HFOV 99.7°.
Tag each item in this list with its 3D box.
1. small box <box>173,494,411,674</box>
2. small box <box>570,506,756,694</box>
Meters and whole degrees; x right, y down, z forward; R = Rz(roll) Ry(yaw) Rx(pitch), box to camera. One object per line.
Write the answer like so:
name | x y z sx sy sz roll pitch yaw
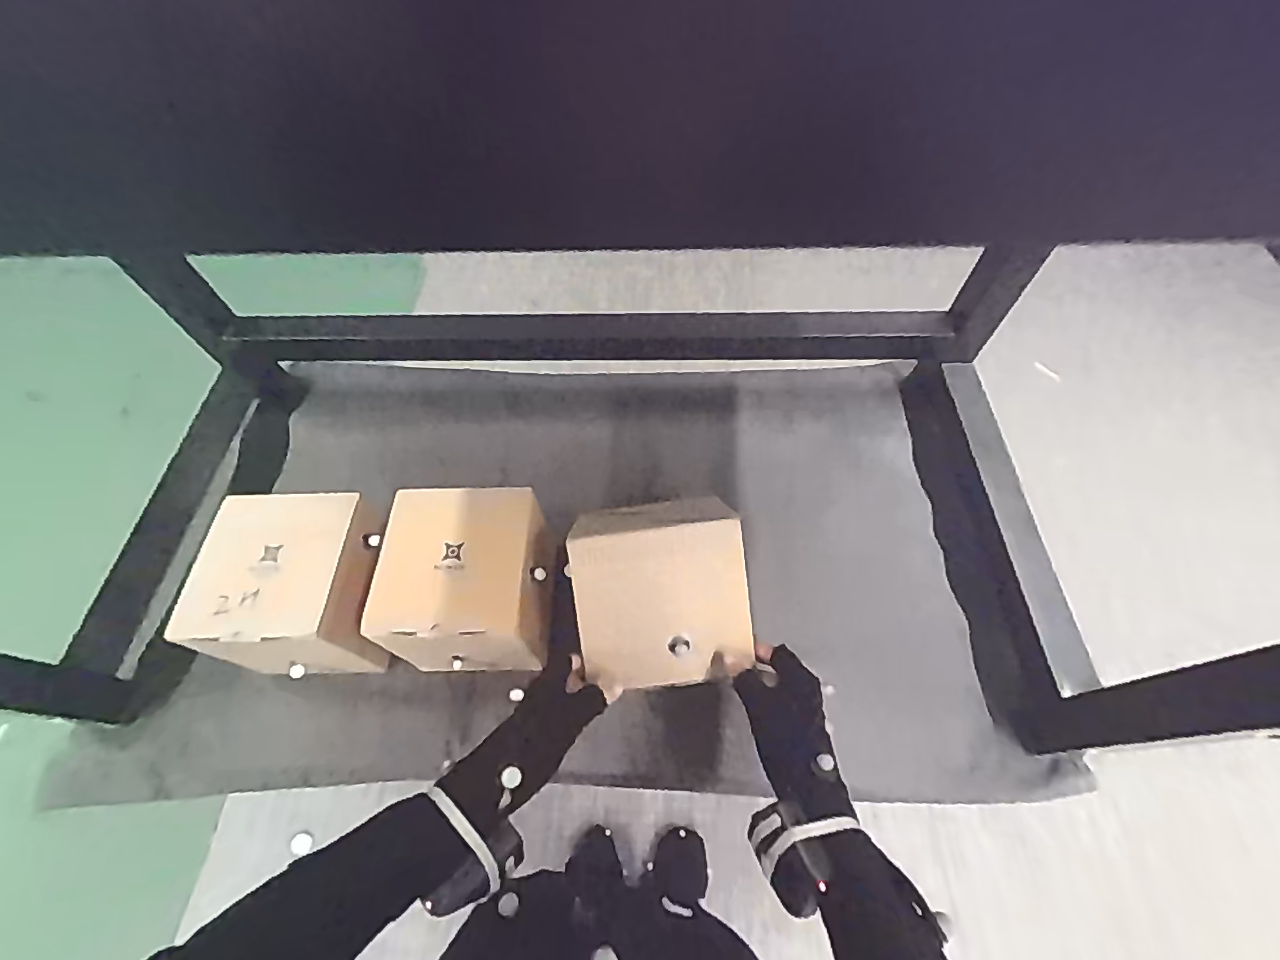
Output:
small box | -0.408 0.134 0.676 0.168 0.176 0.179 -1 58 2
small box | 0.021 0.122 0.625 0.179 0.168 0.176 -6 91 -2
